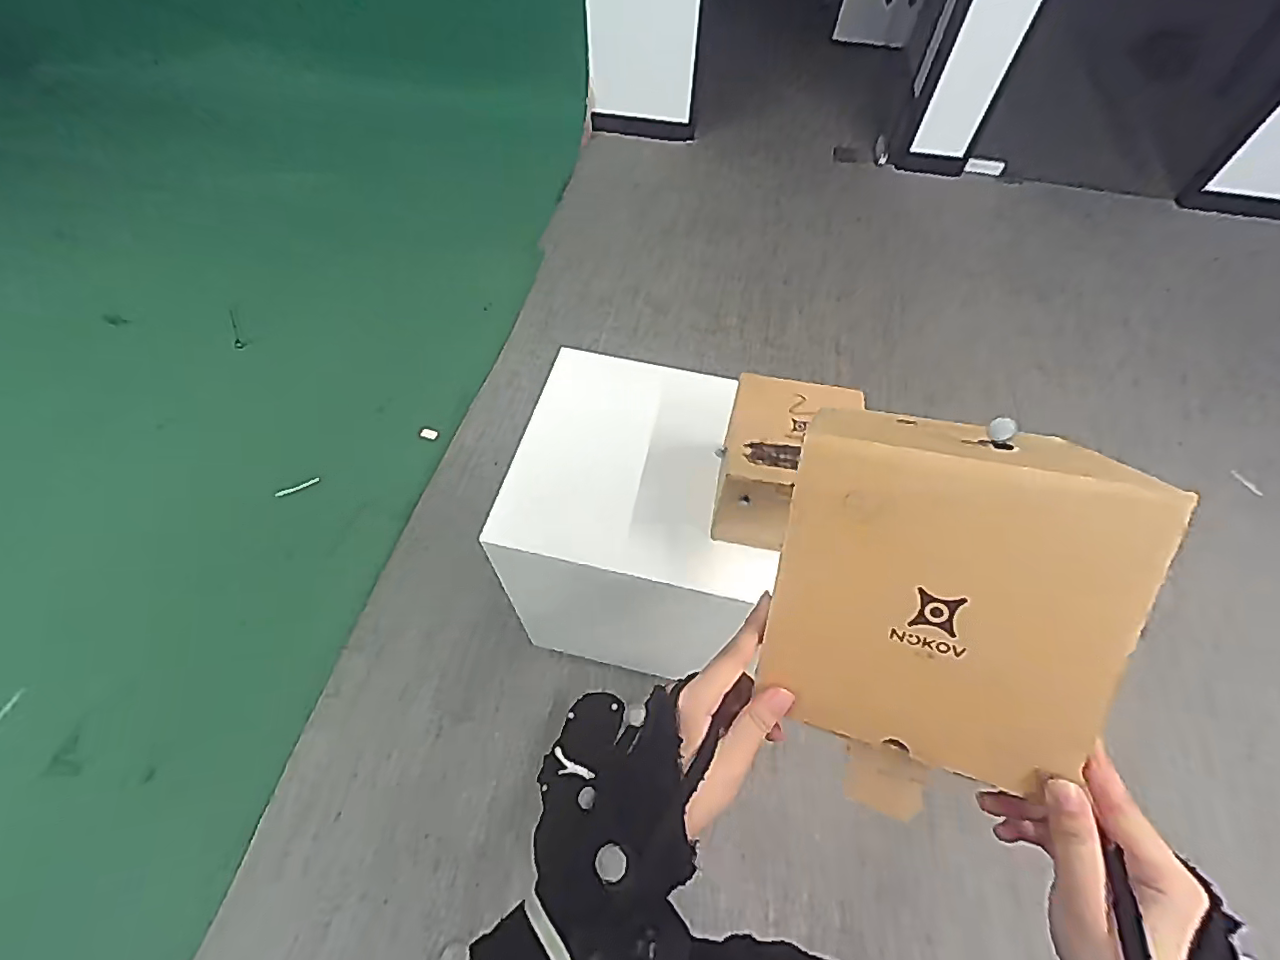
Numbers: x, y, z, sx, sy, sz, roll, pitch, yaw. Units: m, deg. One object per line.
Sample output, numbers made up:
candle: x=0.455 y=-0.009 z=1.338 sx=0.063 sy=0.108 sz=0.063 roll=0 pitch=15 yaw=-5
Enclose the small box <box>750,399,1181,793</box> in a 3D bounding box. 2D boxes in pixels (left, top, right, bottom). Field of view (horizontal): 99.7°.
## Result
small box: x=0.179 y=0.048 z=0.354 sx=0.168 sy=0.179 sz=0.176 roll=12 pitch=18 yaw=19
